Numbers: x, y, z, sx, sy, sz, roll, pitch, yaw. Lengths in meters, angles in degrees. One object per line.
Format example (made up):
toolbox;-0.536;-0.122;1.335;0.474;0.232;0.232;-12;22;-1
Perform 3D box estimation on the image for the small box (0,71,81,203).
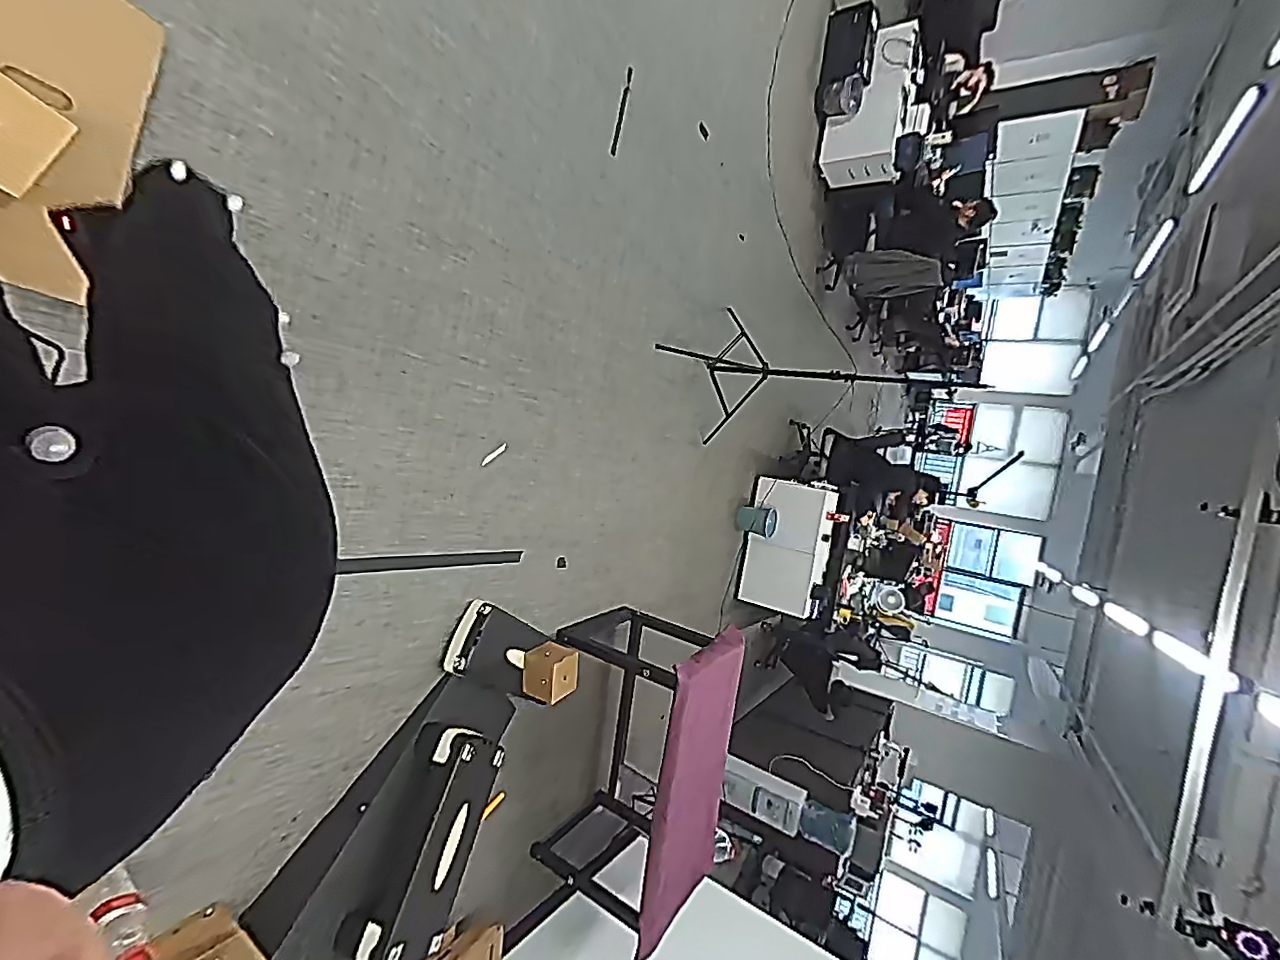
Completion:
small box;-1.125;-0.599;0.919;0.179;0.176;0.168;40;68;-51
